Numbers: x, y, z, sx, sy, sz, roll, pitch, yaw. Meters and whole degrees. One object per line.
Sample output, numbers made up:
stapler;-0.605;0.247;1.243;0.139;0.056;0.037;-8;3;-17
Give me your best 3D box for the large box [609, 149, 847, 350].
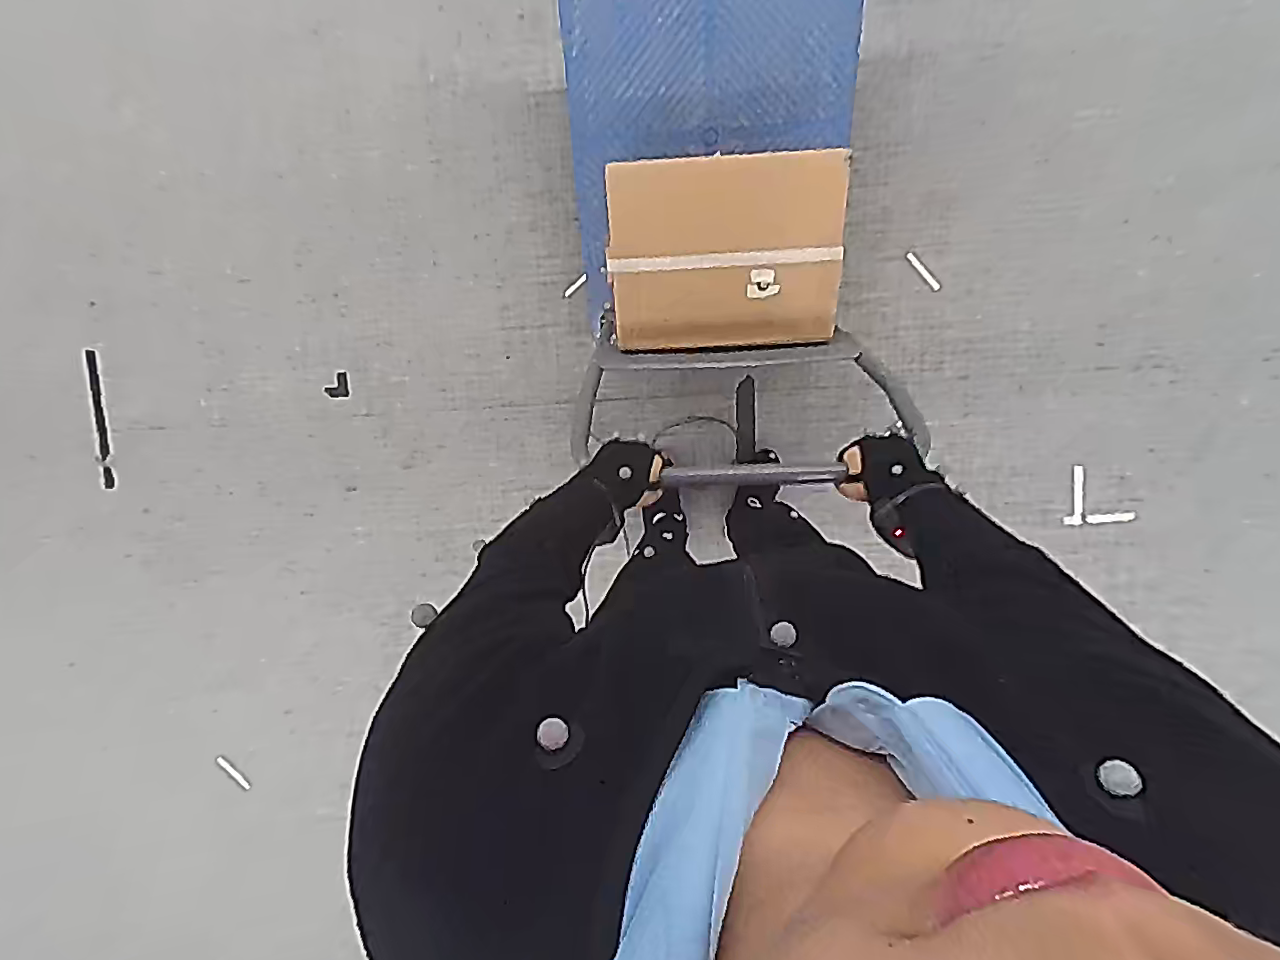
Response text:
large box;0.157;-0.466;1.102;0.408;0.320;0.320;-3;118;3
